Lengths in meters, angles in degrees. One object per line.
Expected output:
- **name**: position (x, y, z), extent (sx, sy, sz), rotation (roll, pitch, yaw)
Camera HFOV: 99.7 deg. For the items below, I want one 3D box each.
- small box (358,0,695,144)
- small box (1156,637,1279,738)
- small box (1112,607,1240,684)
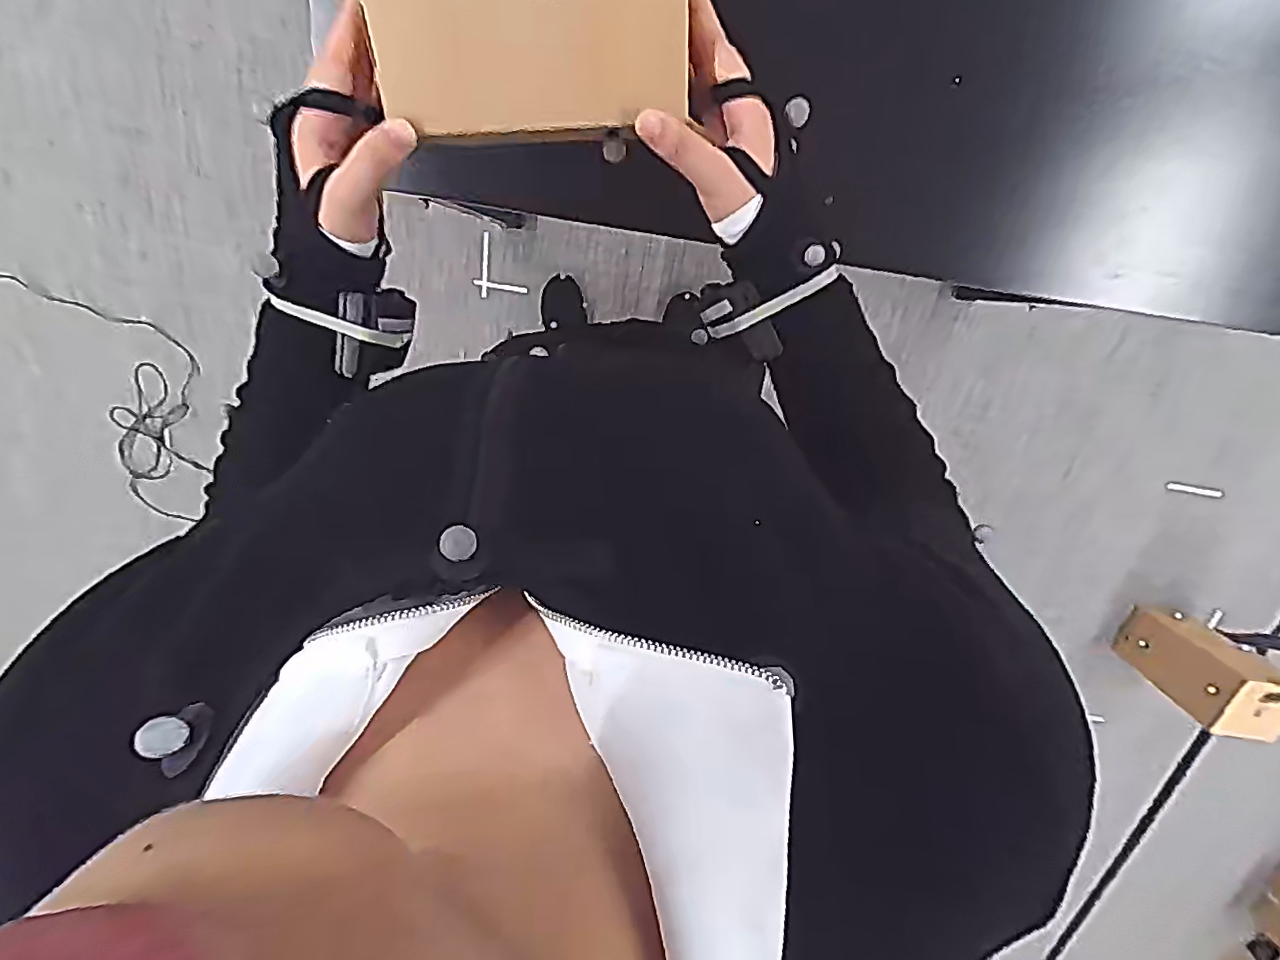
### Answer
- **small box**: position (-0.061, -0.311, 0.335), extent (0.179, 0.176, 0.168), rotation (-1, 119, 0)
- **small box**: position (1.533, 0.540, 1.422), extent (0.168, 0.176, 0.179), rotation (9, 111, -1)
- **small box**: position (1.553, 0.494, 1.581), extent (0.179, 0.176, 0.168), rotation (11, 111, -1)
